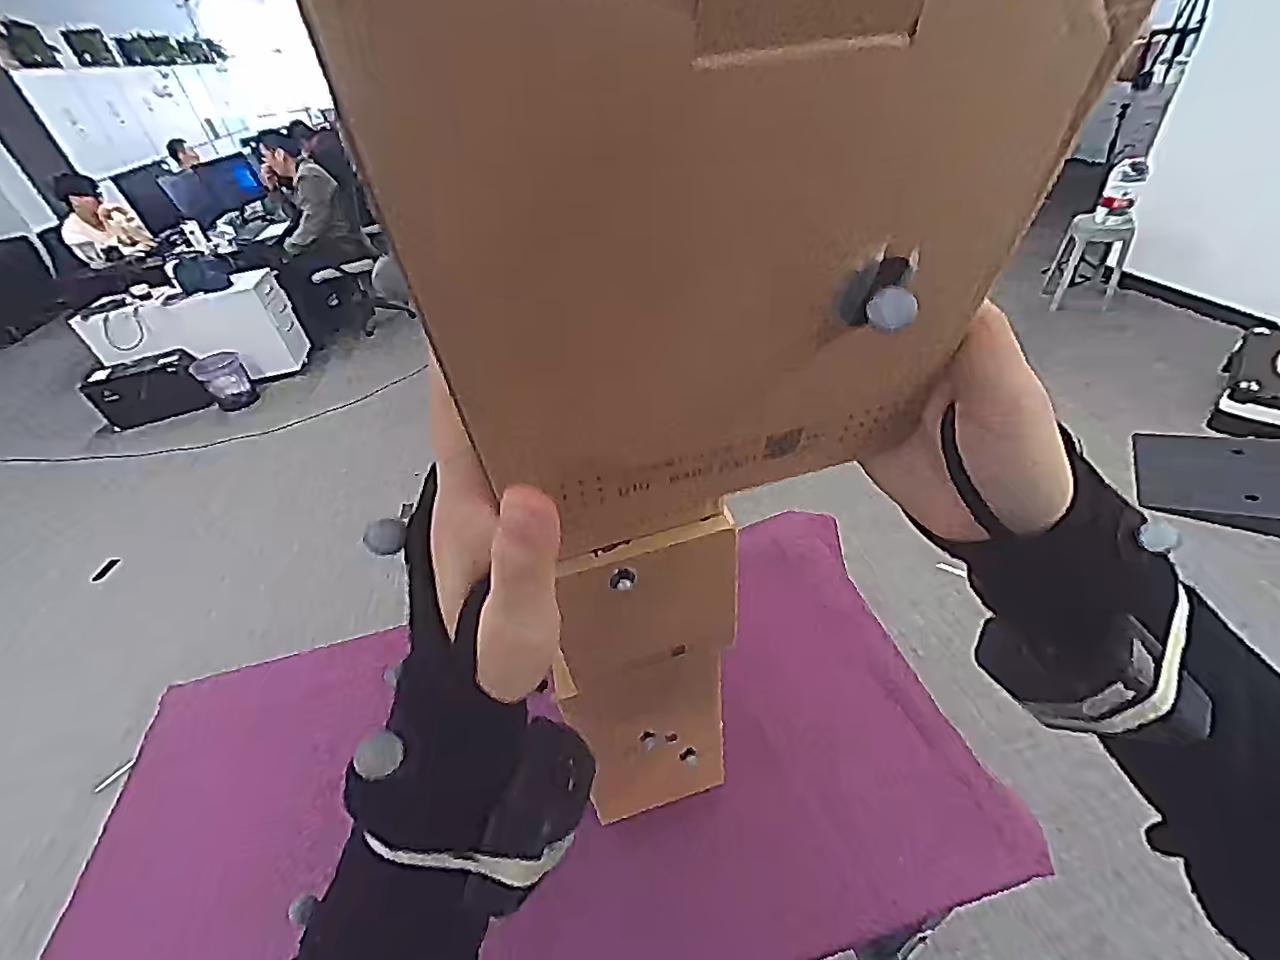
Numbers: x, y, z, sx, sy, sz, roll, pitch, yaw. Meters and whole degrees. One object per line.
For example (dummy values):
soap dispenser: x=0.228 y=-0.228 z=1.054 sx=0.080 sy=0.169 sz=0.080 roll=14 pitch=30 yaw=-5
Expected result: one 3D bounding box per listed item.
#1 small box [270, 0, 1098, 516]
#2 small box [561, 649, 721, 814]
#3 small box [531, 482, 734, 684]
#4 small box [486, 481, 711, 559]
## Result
small box: x=0.000 y=-0.105 z=0.201 sx=0.168 sy=0.176 sz=0.179 roll=-15 pitch=54 yaw=-10
small box: x=0.002 y=0.320 z=0.741 sx=0.179 sy=0.176 sz=0.168 roll=-15 pitch=39 yaw=-7
small box: x=-0.016 y=0.066 z=0.536 sx=0.168 sy=0.176 sz=0.179 roll=-15 pitch=40 yaw=-8
small box: x=-0.044 y=-0.065 z=0.441 sx=0.179 sy=0.176 sz=0.168 roll=-16 pitch=40 yaw=-8
